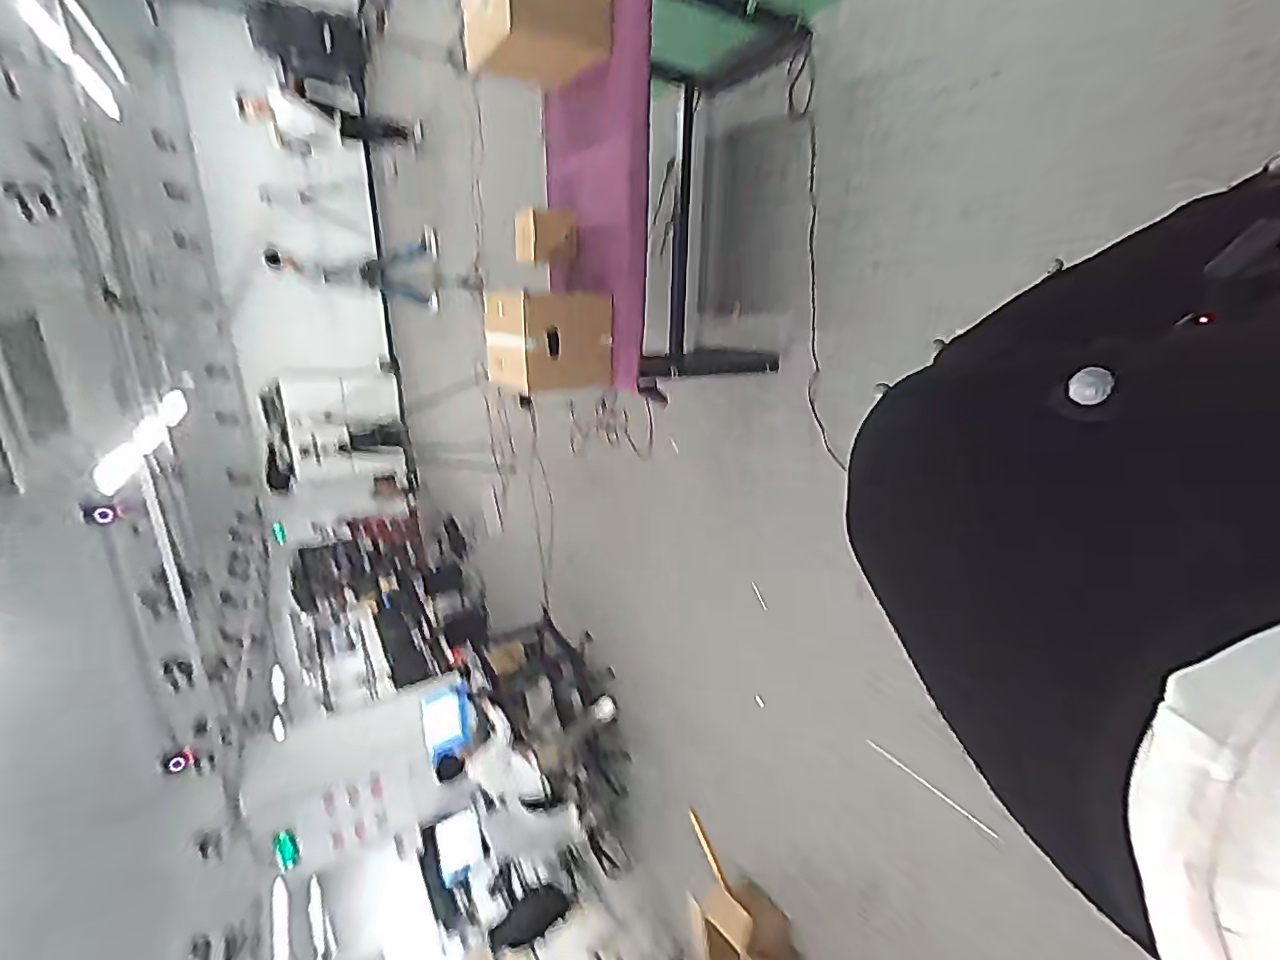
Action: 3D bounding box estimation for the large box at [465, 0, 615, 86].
[{"bbox_3d":[-0.308,-1.436,1.605,0.408,0.320,0.320,28,124,52],"label":"large box"}]

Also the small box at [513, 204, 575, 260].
[{"bbox_3d":[-0.347,-0.890,1.953,0.179,0.176,0.168,28,122,52],"label":"small box"}]
